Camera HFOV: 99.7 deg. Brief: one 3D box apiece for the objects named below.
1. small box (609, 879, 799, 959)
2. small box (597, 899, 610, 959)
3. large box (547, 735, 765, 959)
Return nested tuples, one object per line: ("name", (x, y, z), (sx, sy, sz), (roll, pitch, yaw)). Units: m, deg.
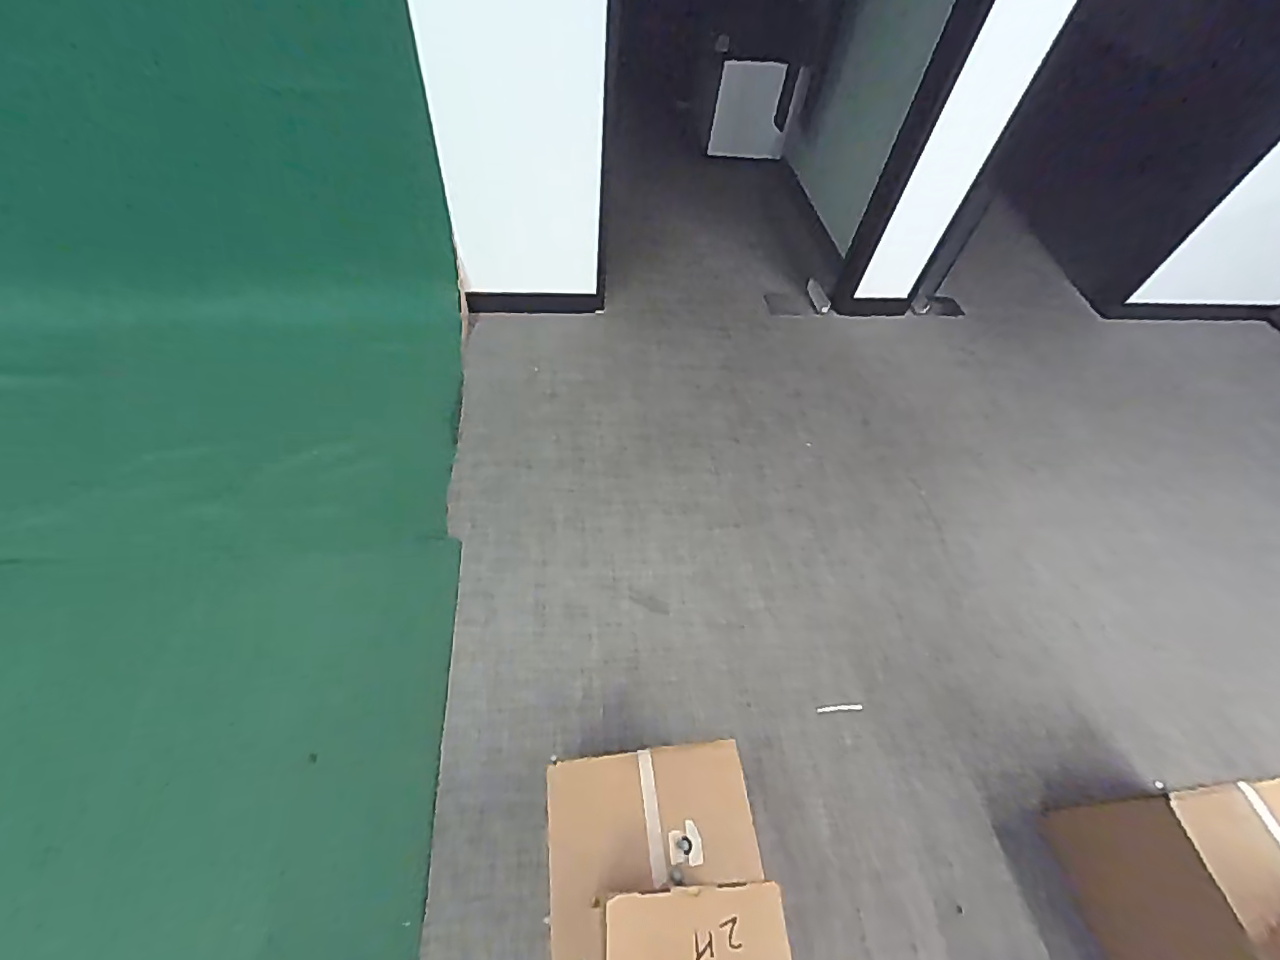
("small box", (0.055, 0.496, 0.519), (0.168, 0.176, 0.179), (0, 53, -6))
("small box", (0.039, 0.598, 0.647), (0.179, 0.176, 0.168), (-1, 54, -6))
("large box", (0.023, 0.684, 0.885), (0.320, 0.320, 0.408), (-3, 54, -9))
